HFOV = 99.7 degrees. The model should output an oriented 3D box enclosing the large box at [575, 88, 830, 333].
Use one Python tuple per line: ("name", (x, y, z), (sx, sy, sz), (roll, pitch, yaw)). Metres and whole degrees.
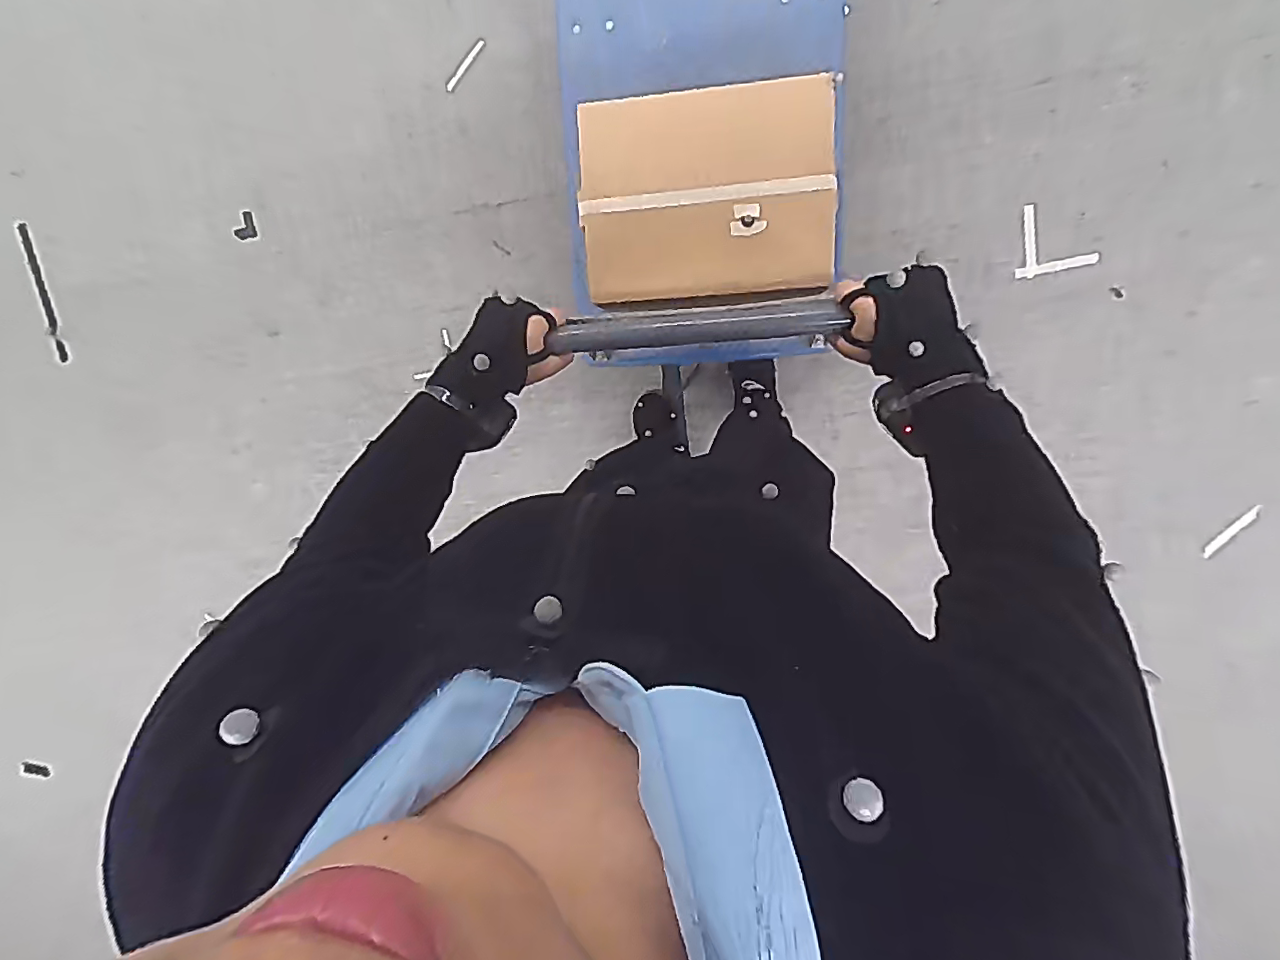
("large box", (0.115, -0.465, 1.020), (0.408, 0.320, 0.320), (-2, 101, 7))
